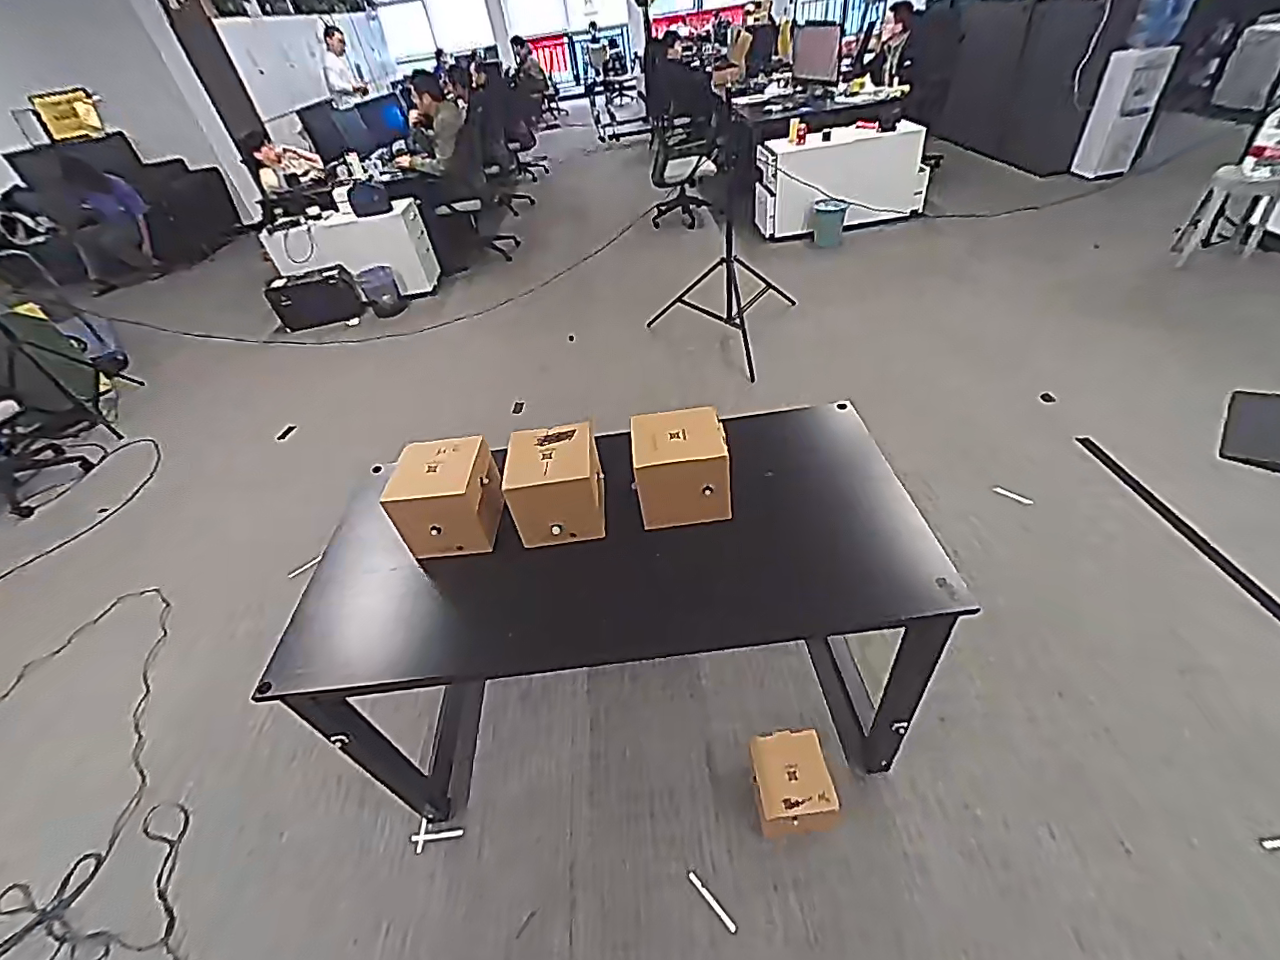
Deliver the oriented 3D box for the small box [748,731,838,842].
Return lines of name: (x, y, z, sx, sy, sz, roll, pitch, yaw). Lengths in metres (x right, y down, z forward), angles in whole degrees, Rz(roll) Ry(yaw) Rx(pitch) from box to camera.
small box: (0.356, 0.731, 1.291, 0.168, 0.176, 0.179, -9, 41, 2)

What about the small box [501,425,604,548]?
small box: (-0.169, 0.014, 1.094, 0.168, 0.176, 0.179, -8, 42, 2)

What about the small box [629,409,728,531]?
small box: (0.078, -0.019, 1.087, 0.179, 0.176, 0.168, -9, 40, 3)

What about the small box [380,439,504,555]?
small box: (-0.391, 0.041, 1.106, 0.168, 0.176, 0.179, -6, 41, 4)
